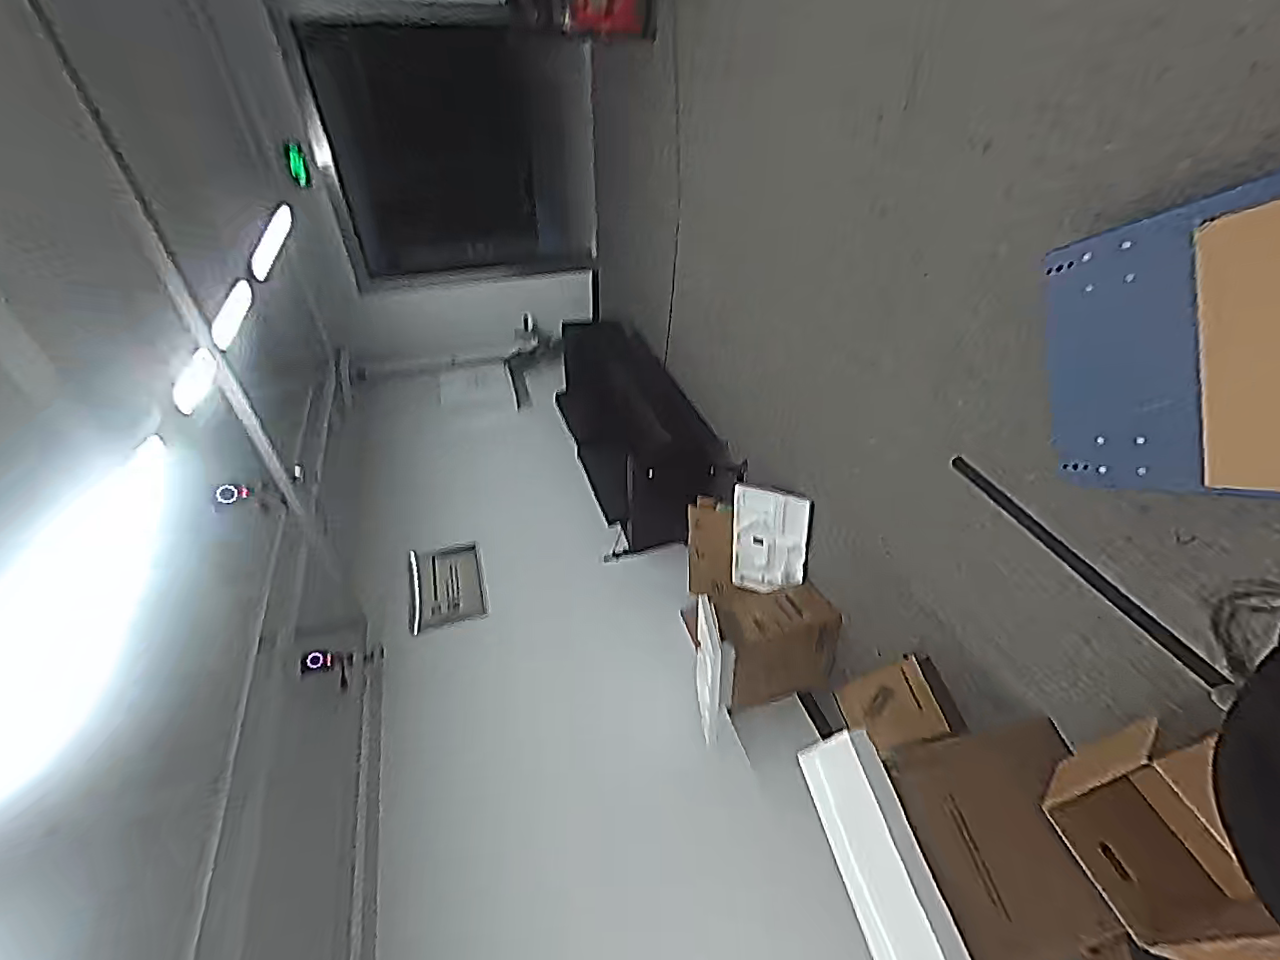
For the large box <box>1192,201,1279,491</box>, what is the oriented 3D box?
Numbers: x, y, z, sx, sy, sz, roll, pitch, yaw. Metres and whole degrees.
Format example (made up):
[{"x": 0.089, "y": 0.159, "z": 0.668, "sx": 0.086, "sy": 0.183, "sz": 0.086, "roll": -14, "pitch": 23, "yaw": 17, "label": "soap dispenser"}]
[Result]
[{"x": 1.044, "y": -0.200, "z": 0.720, "sx": 0.320, "sy": 0.320, "sz": 0.408, "roll": -167, "pitch": 67, "yaw": -74, "label": "large box"}]
